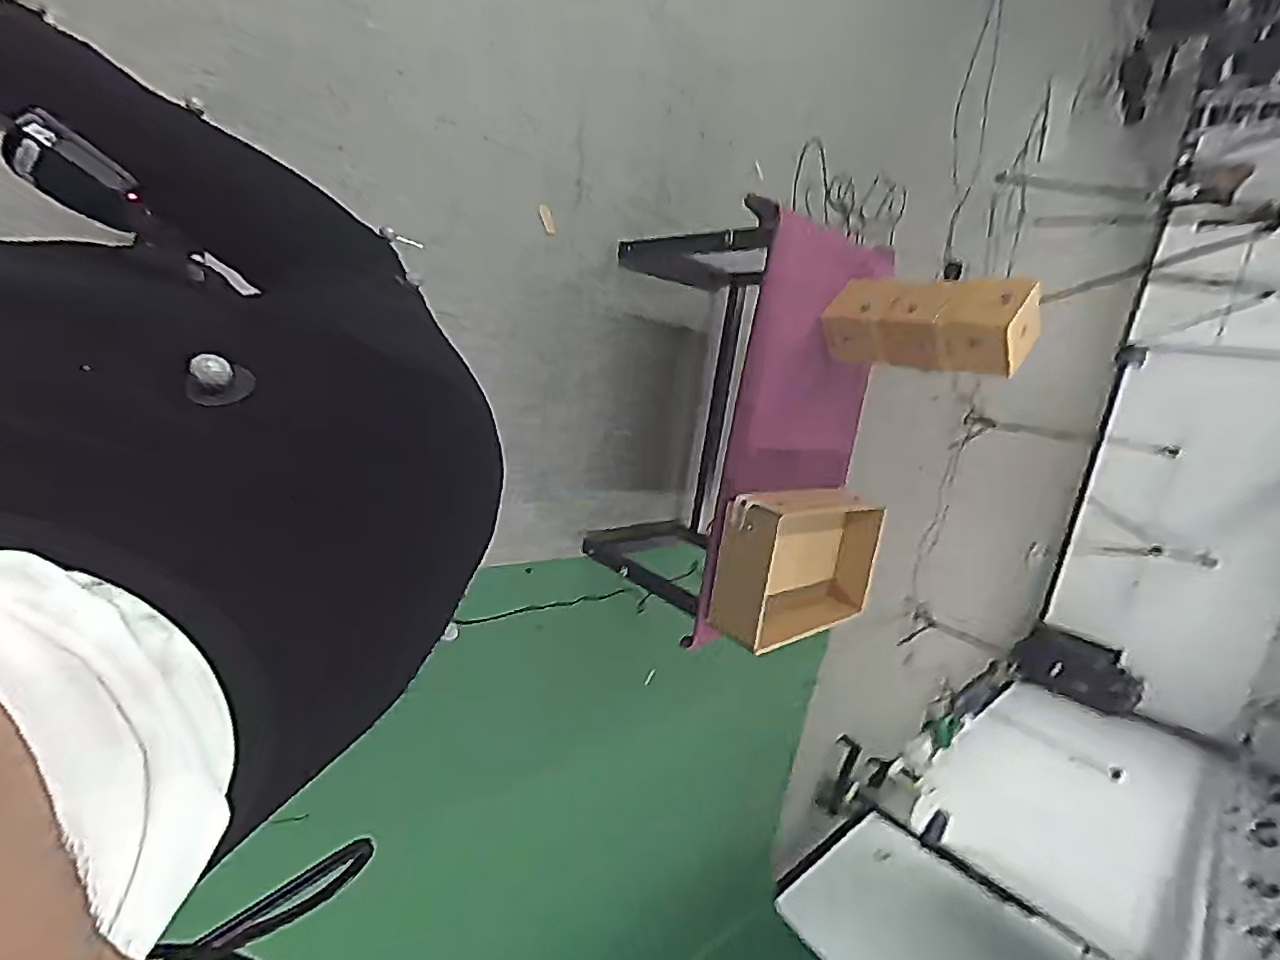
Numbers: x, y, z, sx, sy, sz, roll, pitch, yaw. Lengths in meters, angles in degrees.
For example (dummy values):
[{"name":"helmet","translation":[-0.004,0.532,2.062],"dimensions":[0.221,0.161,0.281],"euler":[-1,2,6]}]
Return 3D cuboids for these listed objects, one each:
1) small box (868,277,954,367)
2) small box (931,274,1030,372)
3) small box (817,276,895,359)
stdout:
[{"name":"small box","translation":[0.755,-0.436,1.494],"dimensions":[0.168,0.176,0.179],"euler":[-49,131,-16]},{"name":"small box","translation":[0.861,-0.399,1.378],"dimensions":[0.179,0.176,0.168],"euler":[-51,131,-15]},{"name":"small box","translation":[0.647,-0.483,1.607],"dimensions":[0.179,0.176,0.168],"euler":[-50,132,-17]}]
